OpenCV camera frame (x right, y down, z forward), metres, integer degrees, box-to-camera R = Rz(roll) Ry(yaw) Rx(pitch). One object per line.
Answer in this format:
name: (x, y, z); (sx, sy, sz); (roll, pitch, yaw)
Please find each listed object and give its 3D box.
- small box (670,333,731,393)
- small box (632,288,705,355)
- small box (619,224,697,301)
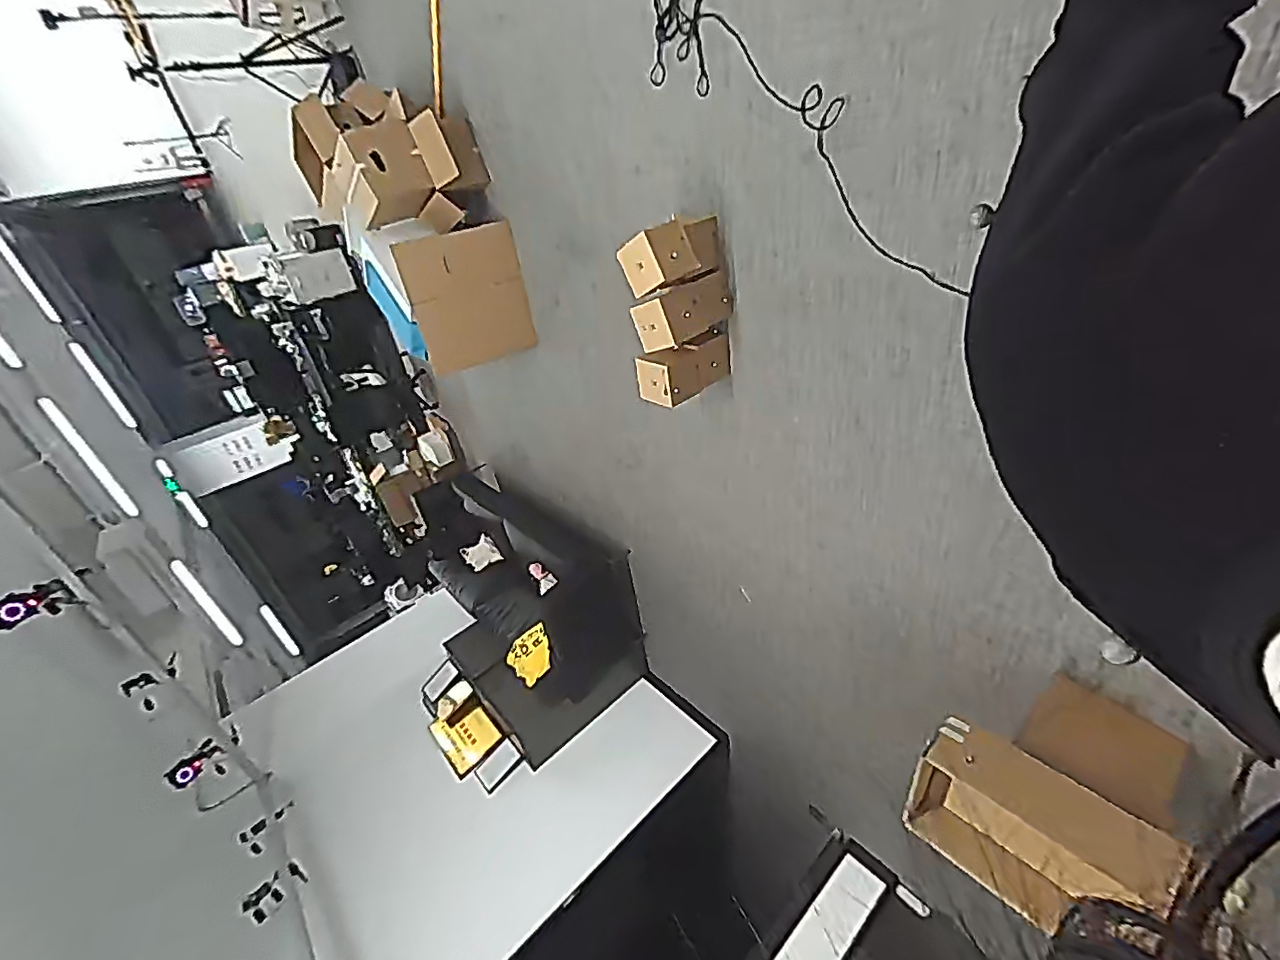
small box: (0.237, -0.464, 2.102); (0.168, 0.176, 0.179); (26, 137, 44)
small box: (0.108, -0.554, 1.888); (0.179, 0.176, 0.168); (5, 121, 55)
small box: (0.067, -0.722, 1.793); (0.179, 0.176, 0.168); (-8, 110, 59)
